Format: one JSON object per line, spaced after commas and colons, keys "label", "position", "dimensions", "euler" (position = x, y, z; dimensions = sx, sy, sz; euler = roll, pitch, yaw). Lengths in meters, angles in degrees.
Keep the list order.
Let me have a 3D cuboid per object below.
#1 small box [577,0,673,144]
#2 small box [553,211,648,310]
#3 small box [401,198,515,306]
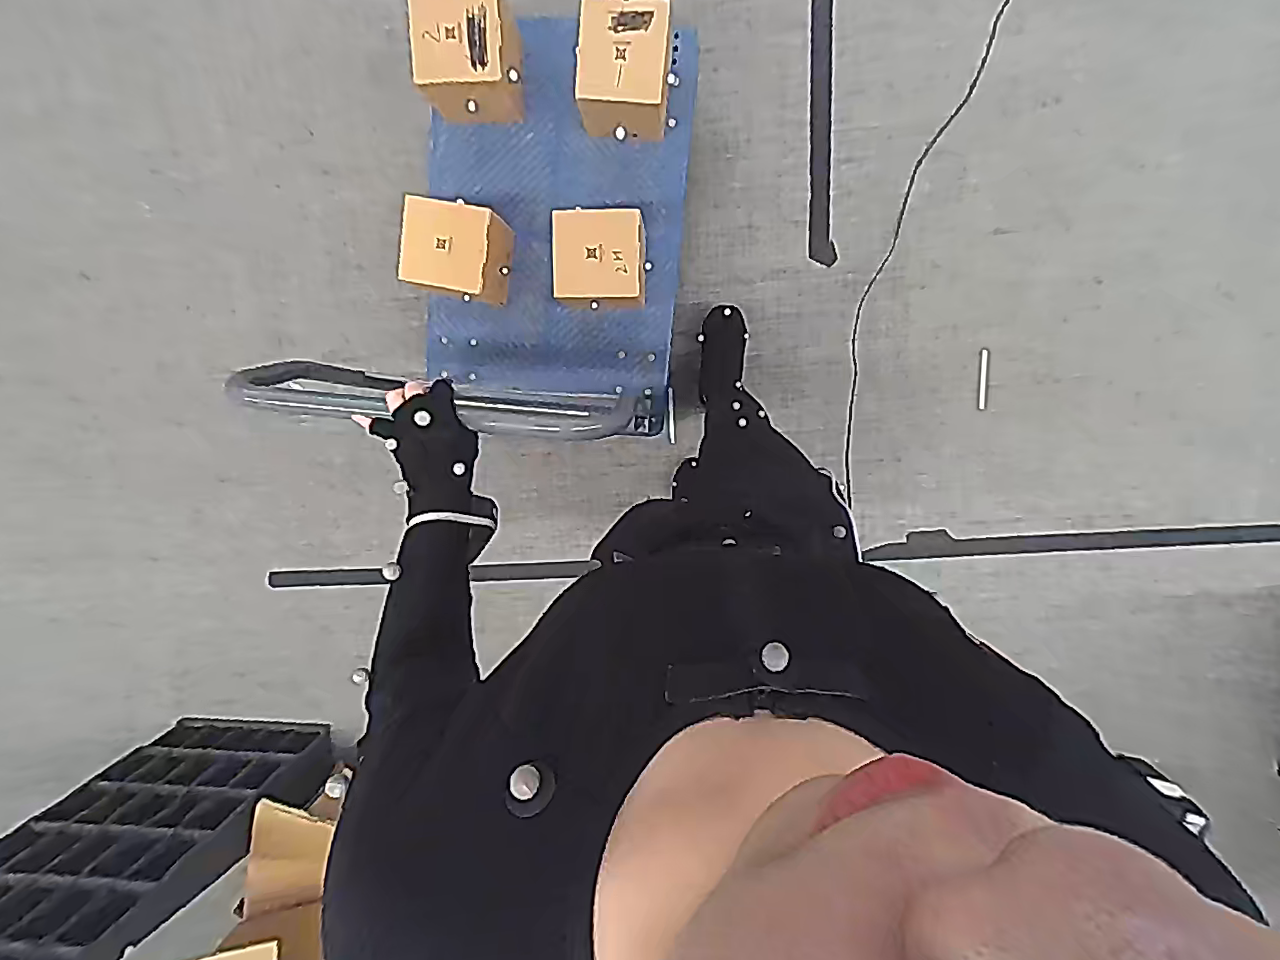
{"label": "small box", "position": [-0.025, -0.807, 1.078], "dimensions": [0.168, 0.176, 0.179], "euler": [6, 101, 3]}
{"label": "small box", "position": [-0.078, -0.456, 1.143], "dimensions": [0.179, 0.176, 0.168], "euler": [1, 100, 4]}
{"label": "small box", "position": [-0.384, -0.480, 1.161], "dimensions": [0.179, 0.176, 0.168], "euler": [10, 100, 1]}
